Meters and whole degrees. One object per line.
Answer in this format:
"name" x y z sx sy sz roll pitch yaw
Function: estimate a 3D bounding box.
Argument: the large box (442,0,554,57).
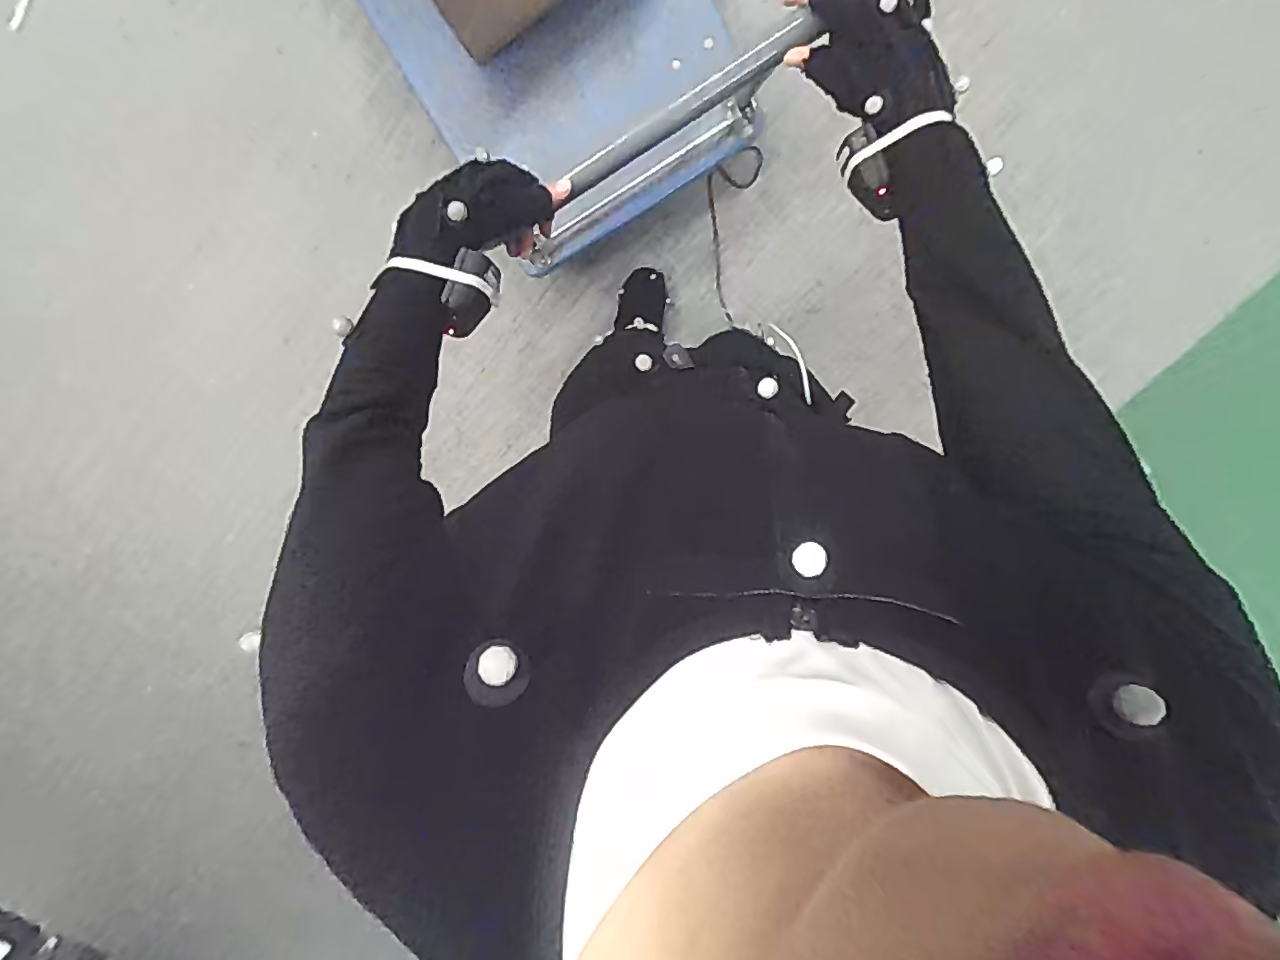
"large box" -0.214 -0.973 0.816 0.408 0.320 0.320 -32 107 11
